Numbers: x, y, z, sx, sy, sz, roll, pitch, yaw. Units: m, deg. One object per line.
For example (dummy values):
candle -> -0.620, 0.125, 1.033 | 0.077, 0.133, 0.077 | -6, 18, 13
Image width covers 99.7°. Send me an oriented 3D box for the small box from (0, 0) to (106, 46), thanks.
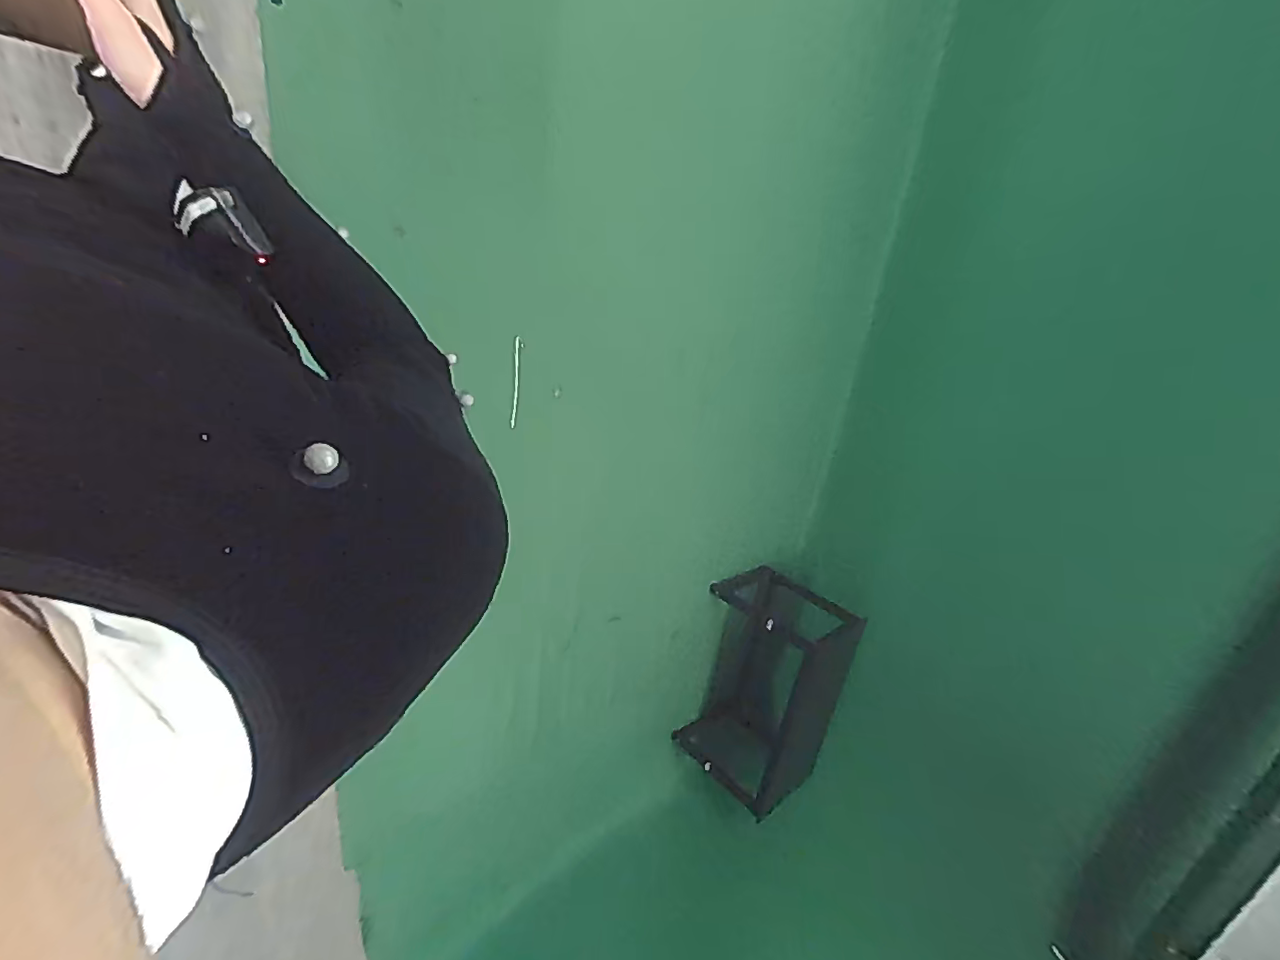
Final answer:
small box -> -0.481, -0.438, 0.352 | 0.168, 0.176, 0.179 | -11, 110, -40
